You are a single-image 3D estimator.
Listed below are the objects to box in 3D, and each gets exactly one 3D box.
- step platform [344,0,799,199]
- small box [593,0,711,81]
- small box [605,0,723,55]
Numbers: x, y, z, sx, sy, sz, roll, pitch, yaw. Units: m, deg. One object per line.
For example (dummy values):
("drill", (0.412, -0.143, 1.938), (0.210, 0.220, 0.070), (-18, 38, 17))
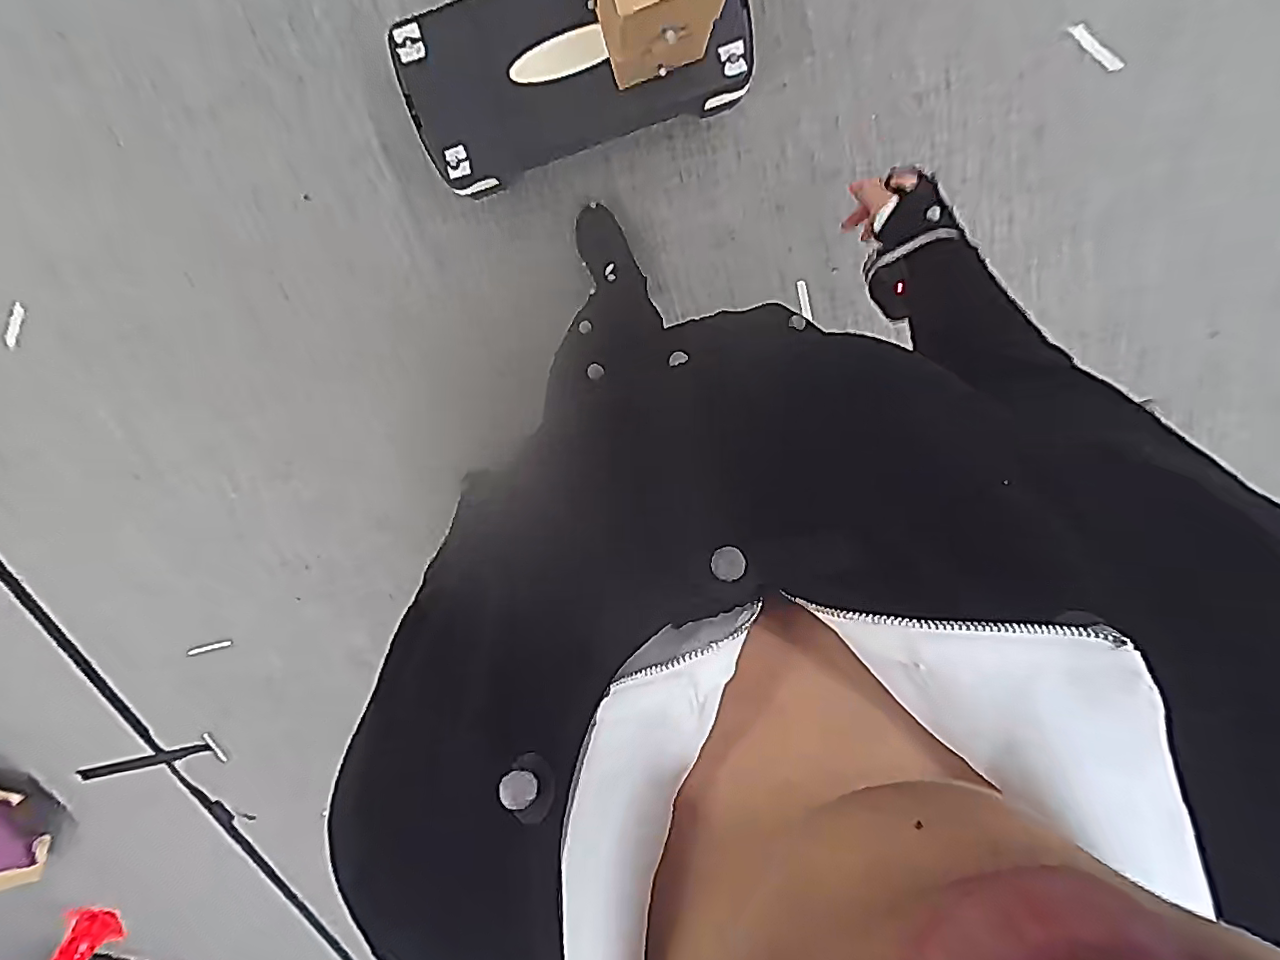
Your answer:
("step platform", (-0.104, -0.726, 0.907), (0.684, 0.204, 0.286), (-17, 112, 5))
("small box", (0.009, -0.809, 0.913), (0.168, 0.176, 0.179), (-17, 113, 7))
("small box", (0.020, -0.751, 0.760), (0.168, 0.176, 0.179), (-17, 113, 7))
